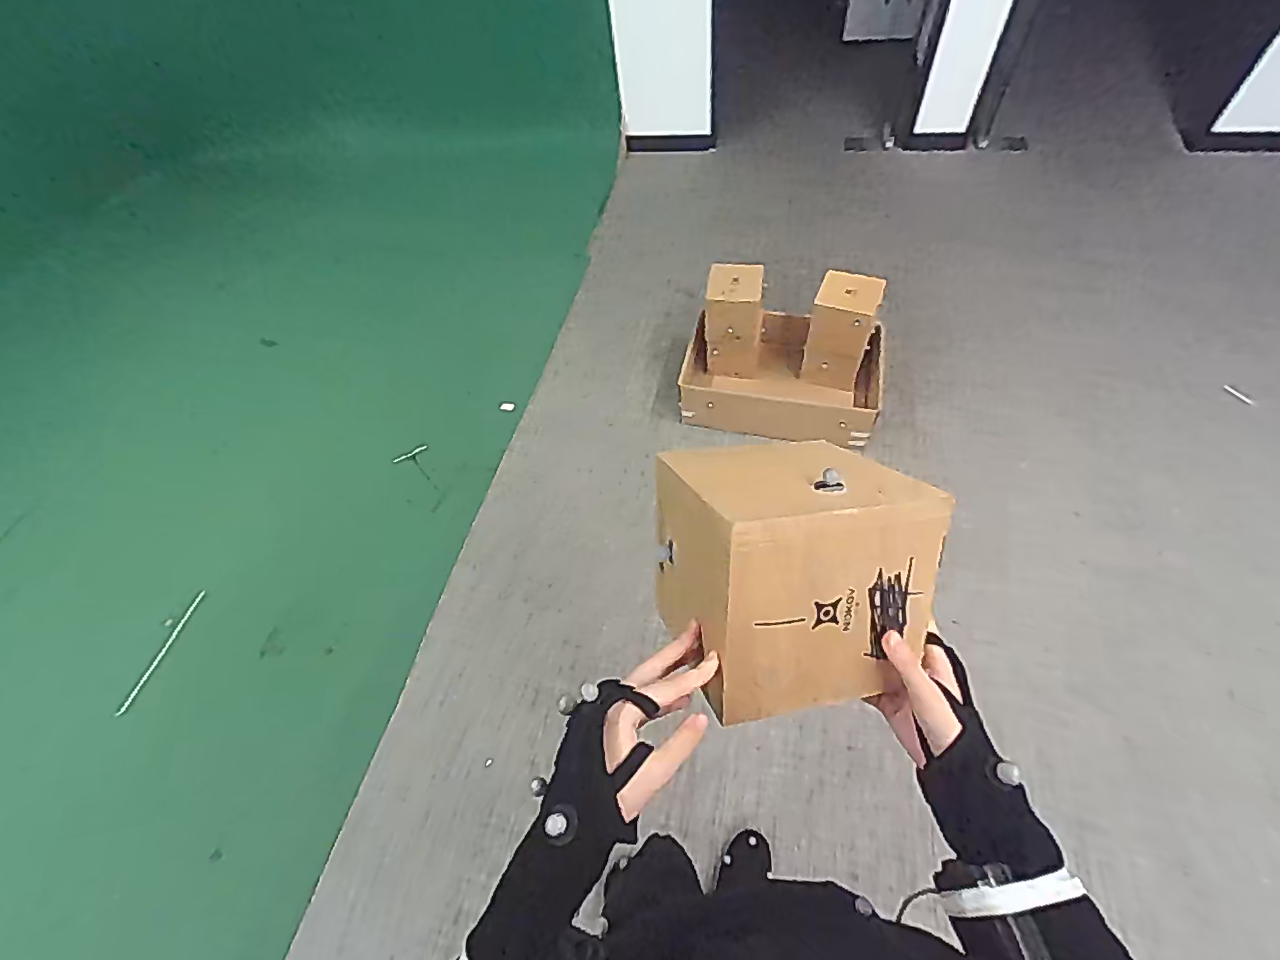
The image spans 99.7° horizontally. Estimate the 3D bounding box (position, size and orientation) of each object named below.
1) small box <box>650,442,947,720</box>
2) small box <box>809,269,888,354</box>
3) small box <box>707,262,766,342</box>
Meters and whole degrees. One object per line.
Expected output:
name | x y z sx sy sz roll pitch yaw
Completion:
small box | 0.116 0.068 0.465 0.179 0.168 0.176 -5 19 -13
small box | 0.630 -0.509 1.649 0.179 0.176 0.168 19 63 19
small box | 0.307 -0.569 1.727 0.168 0.176 0.179 6 59 13
